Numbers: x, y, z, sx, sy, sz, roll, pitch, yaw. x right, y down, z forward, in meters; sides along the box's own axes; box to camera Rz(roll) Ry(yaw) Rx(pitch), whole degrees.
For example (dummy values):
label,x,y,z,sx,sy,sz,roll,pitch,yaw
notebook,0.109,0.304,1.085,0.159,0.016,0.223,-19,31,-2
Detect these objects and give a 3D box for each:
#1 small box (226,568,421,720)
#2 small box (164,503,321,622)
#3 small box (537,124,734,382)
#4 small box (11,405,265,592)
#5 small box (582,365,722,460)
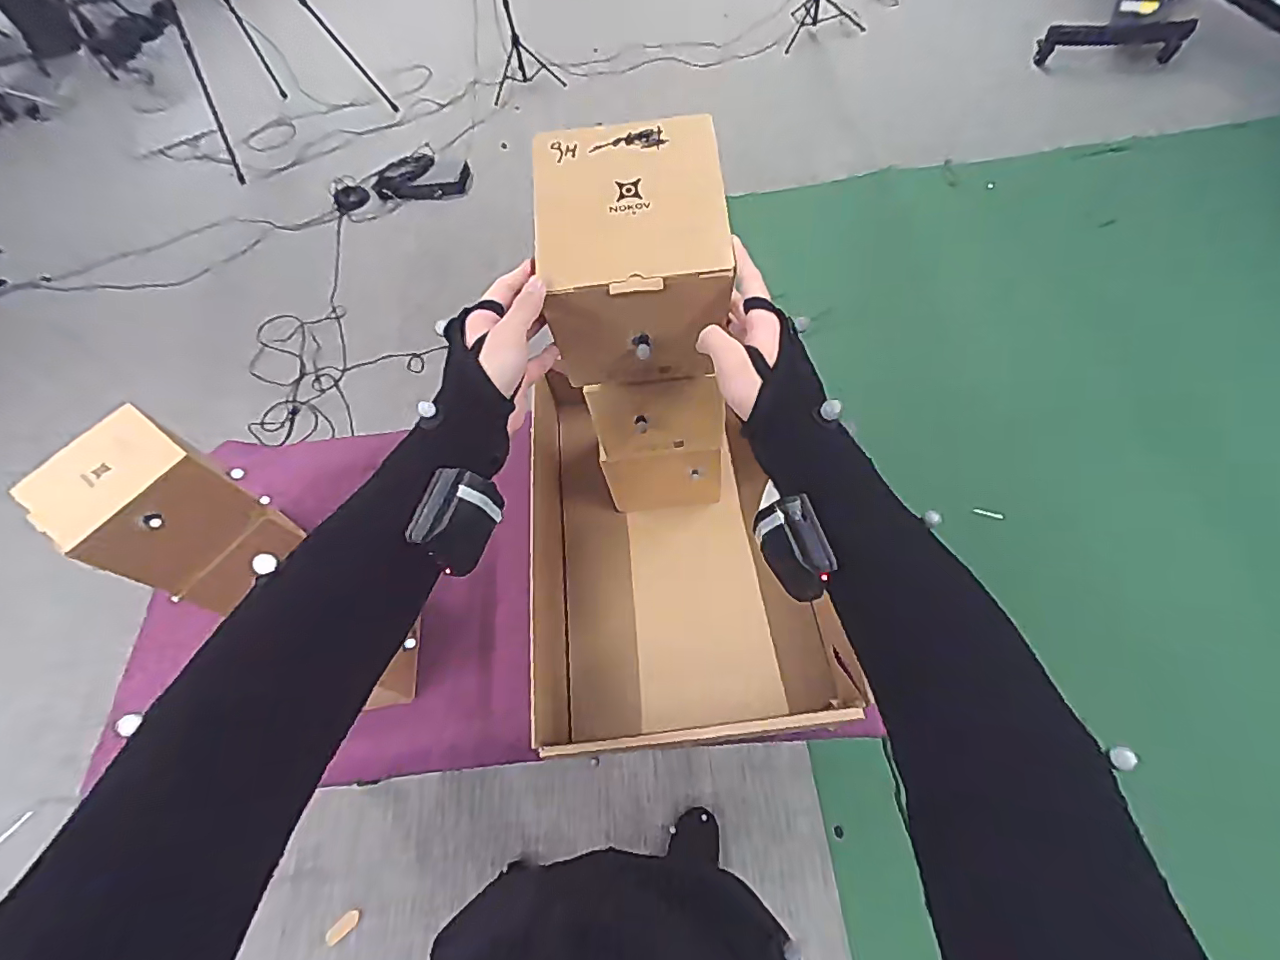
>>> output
label,x,y,z,sx,sy,sz,roll,pitch,yaw
small box,-0.455,0.251,0.809,0.179,0.176,0.168,-10,58,0
small box,-0.691,0.119,0.915,0.179,0.176,0.168,30,67,21
small box,-0.003,-0.210,0.545,0.168,0.176,0.179,-5,73,1
small box,-0.702,0.034,0.777,0.168,0.176,0.179,31,68,20
small box,0.019,-0.139,0.729,0.168,0.176,0.179,-7,60,4
